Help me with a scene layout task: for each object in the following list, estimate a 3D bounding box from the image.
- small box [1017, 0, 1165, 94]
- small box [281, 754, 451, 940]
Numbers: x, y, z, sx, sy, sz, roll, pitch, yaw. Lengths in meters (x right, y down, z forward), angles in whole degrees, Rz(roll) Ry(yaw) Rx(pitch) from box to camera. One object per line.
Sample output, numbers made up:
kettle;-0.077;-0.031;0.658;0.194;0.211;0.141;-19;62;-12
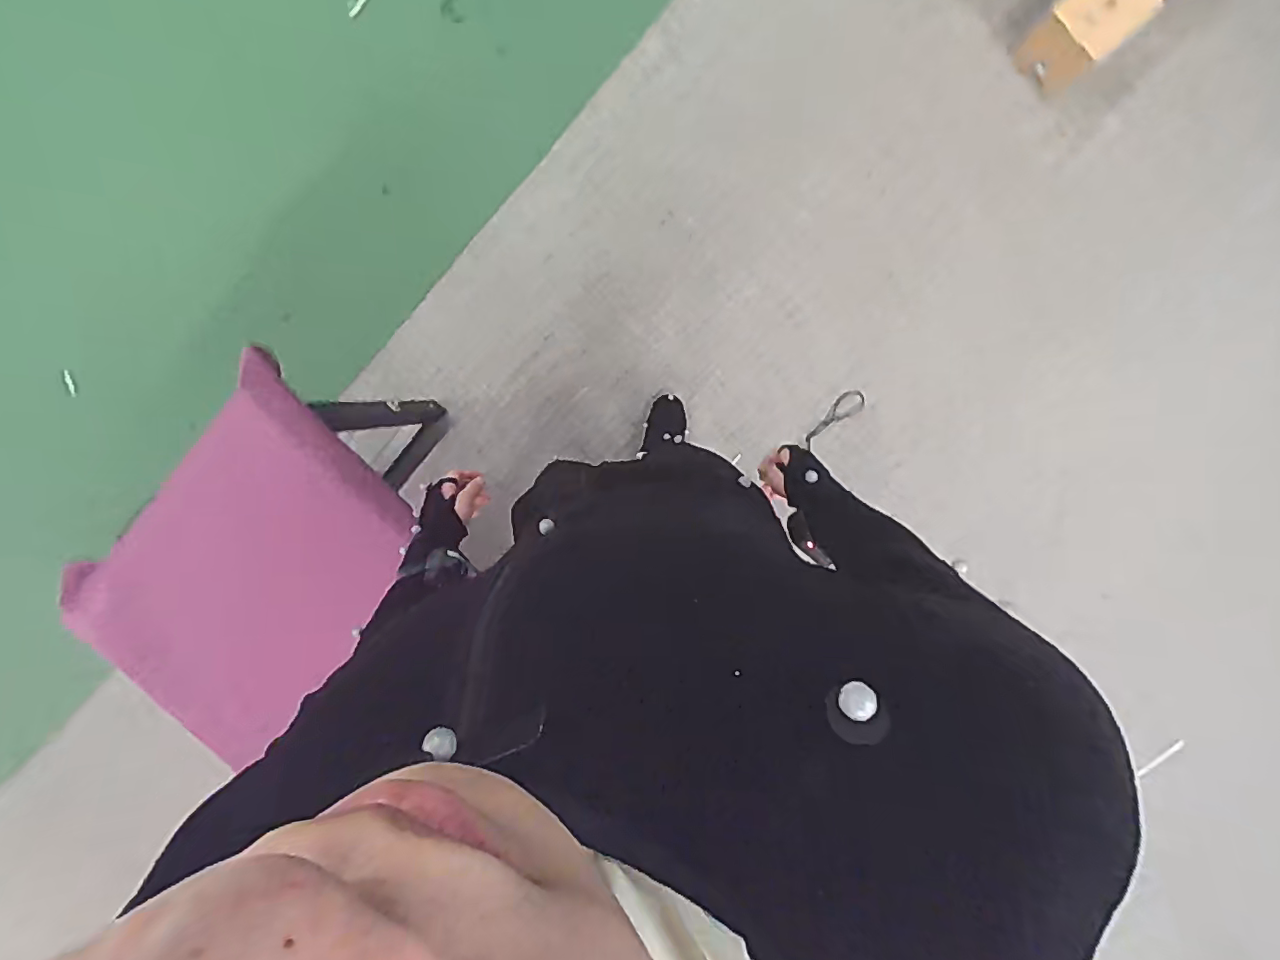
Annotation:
small box;1.048;-1.073;1.269;0.179;0.176;0.168;-43;92;10
small box;-0.474;0.640;0.962;0.168;0.176;0.179;43;99;-1
